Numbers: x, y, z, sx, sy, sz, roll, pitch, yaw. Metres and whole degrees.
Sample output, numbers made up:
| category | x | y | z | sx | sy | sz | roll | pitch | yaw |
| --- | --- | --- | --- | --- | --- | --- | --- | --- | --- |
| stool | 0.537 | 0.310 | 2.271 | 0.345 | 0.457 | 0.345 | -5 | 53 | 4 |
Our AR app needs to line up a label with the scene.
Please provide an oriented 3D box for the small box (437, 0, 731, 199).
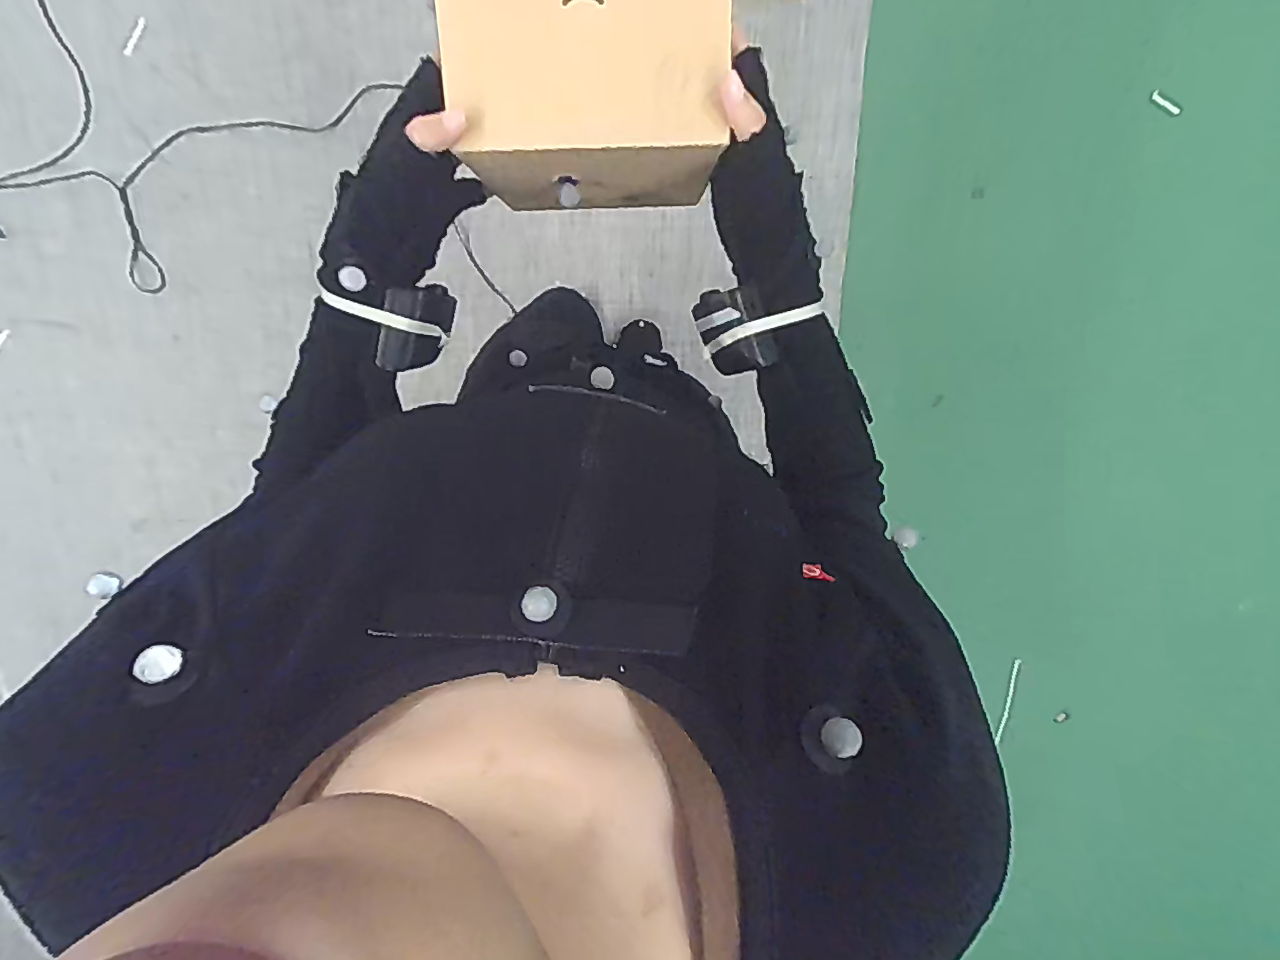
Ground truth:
| category | x | y | z | sx | sy | sz | roll | pitch | yaw |
| --- | --- | --- | --- | --- | --- | --- | --- | --- | --- |
| small box | -0.031 | -0.304 | 0.369 | 0.168 | 0.176 | 0.179 | -2 | 104 | 0 |
